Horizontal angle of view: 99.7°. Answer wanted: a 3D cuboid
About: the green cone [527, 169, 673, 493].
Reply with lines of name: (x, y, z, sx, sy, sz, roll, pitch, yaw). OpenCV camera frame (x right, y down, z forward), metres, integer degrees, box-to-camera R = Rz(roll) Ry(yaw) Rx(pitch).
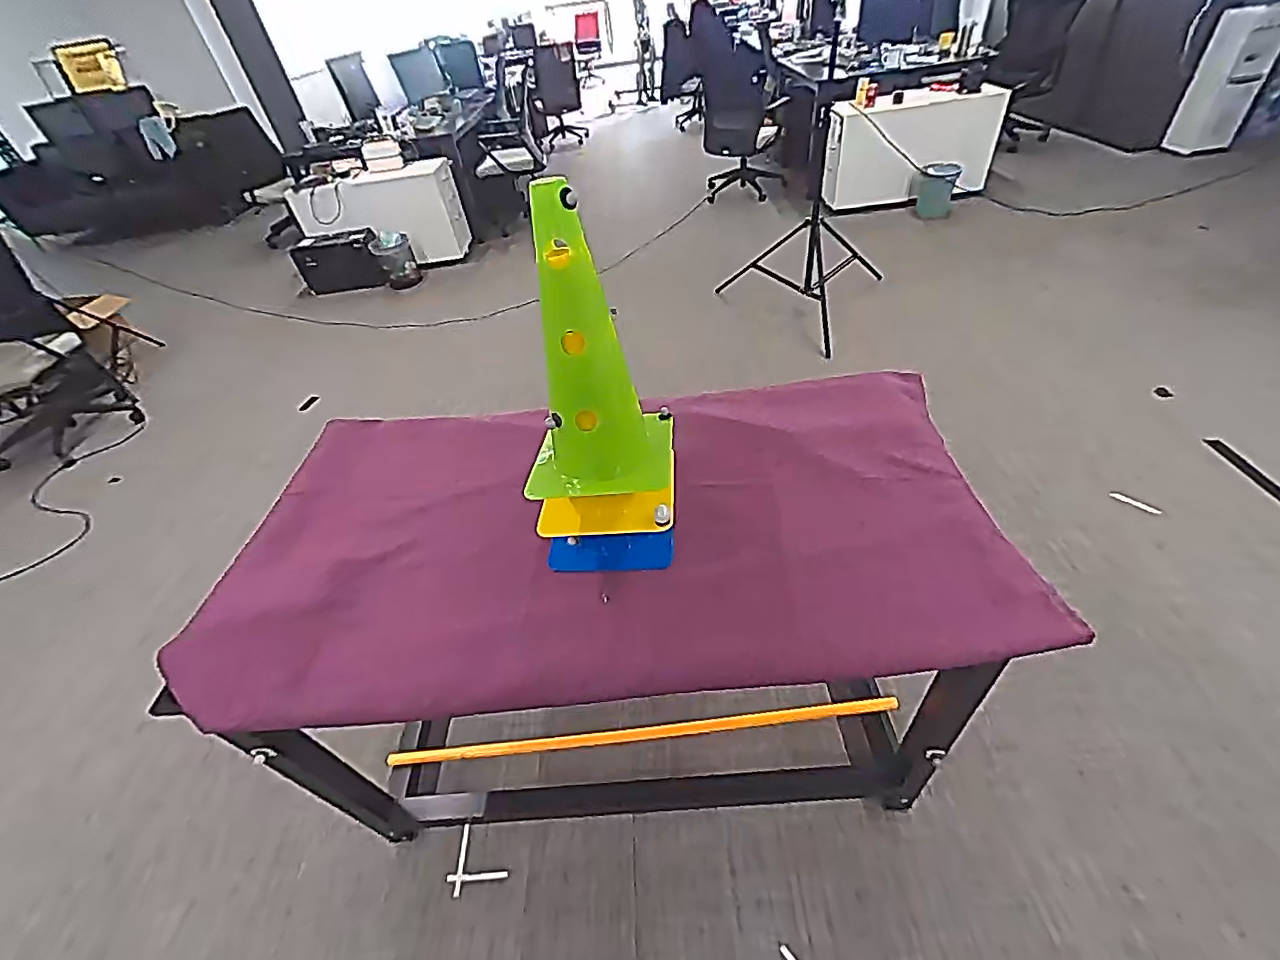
green cone: (-0.077, -0.184, 0.683, 0.200, 0.368, 0.202, -5, 36, 7)
